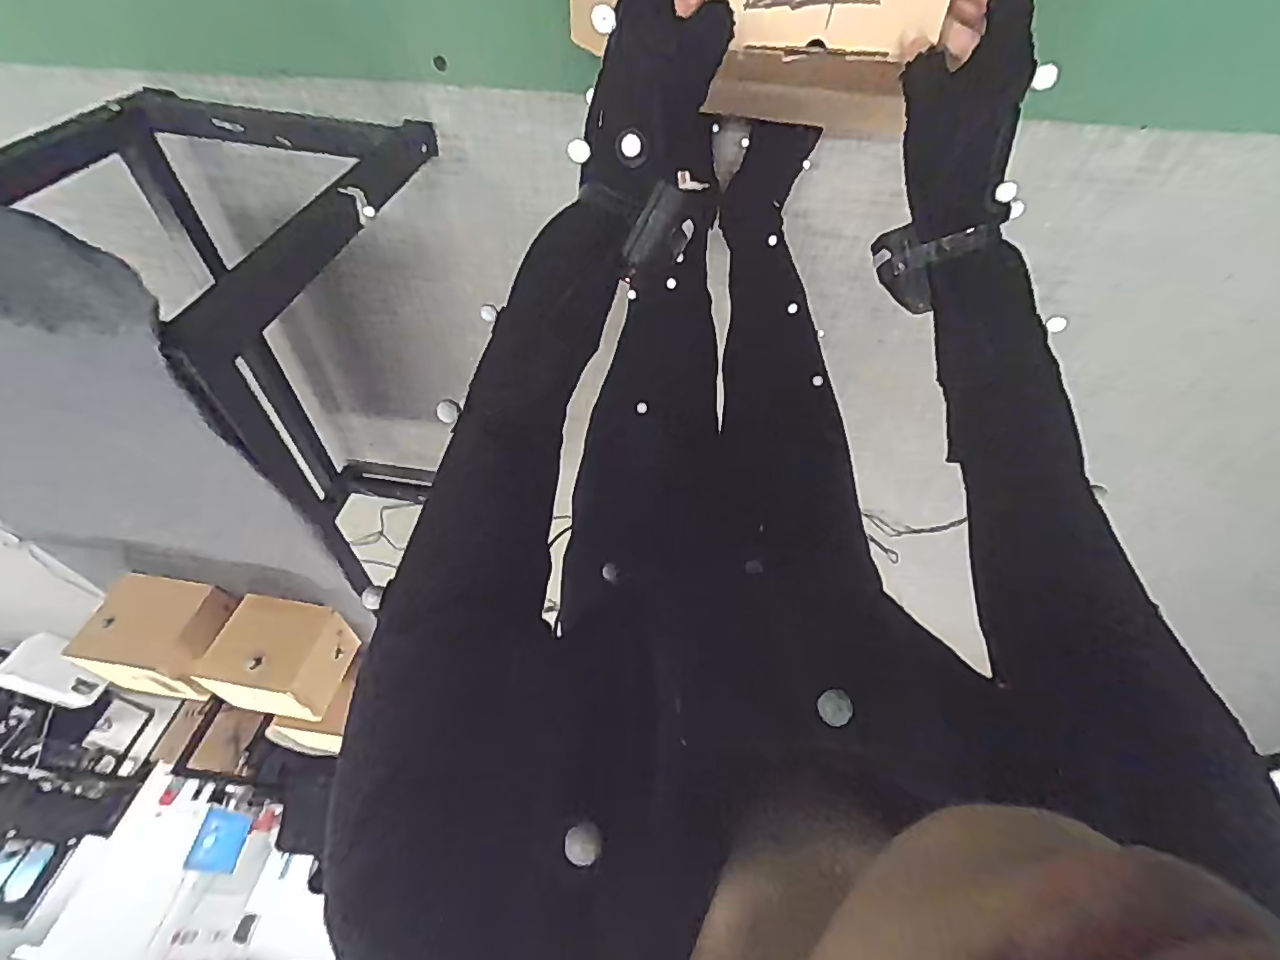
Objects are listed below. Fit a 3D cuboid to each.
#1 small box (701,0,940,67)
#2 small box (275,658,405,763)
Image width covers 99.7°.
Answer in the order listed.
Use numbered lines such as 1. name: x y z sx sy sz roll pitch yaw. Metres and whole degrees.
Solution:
1. small box: 0.142 -0.430 0.409 0.168 0.176 0.179 7 130 6
2. small box: -0.671 0.522 1.232 0.179 0.176 0.168 7 140 3
